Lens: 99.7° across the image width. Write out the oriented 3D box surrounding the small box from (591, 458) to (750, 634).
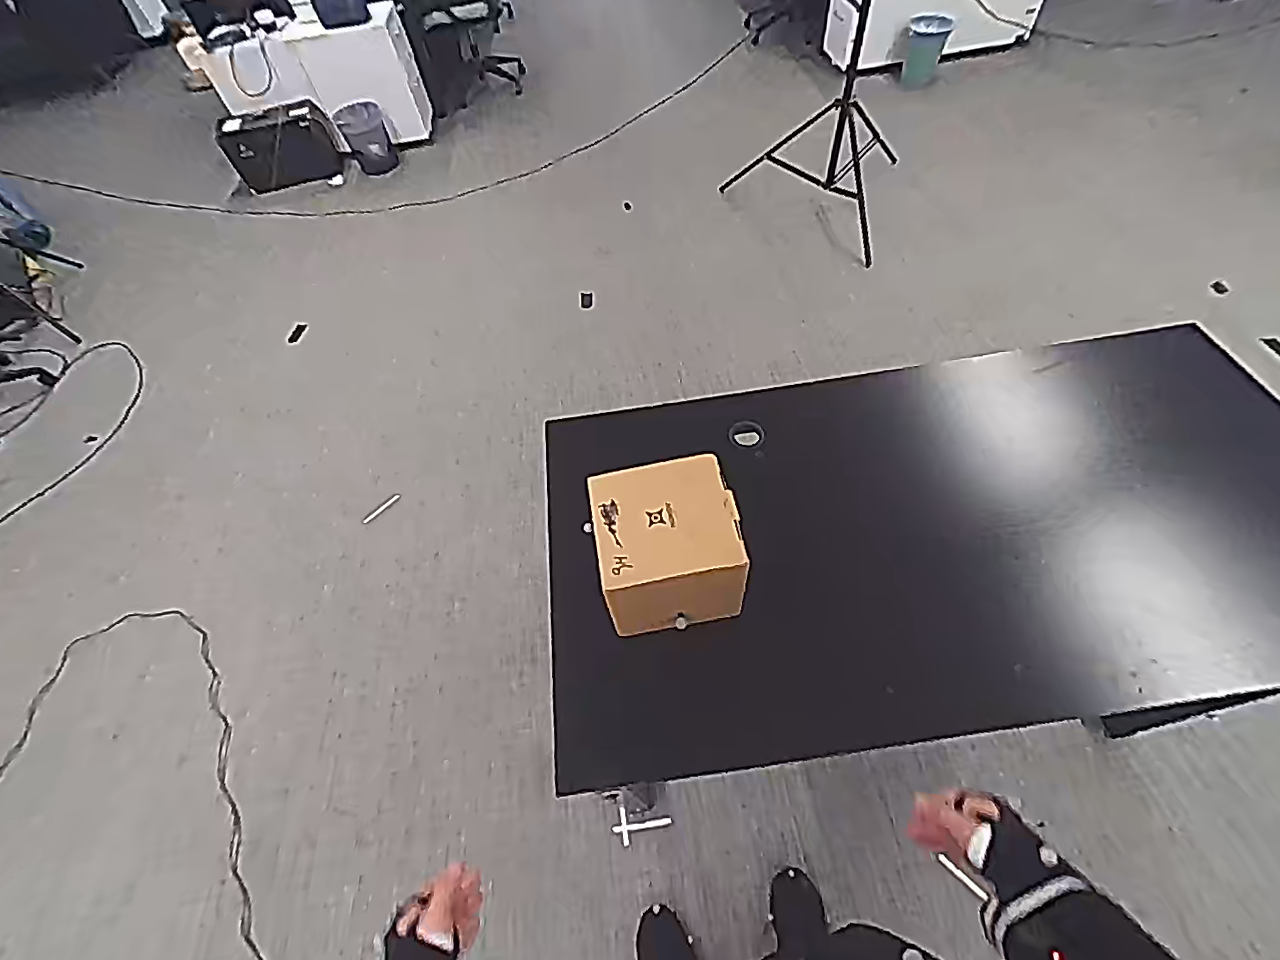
[{"bbox_3d":[0.036,0.094,0.739,0.179,0.176,0.168,-10,55,-2],"label":"small box"}]
